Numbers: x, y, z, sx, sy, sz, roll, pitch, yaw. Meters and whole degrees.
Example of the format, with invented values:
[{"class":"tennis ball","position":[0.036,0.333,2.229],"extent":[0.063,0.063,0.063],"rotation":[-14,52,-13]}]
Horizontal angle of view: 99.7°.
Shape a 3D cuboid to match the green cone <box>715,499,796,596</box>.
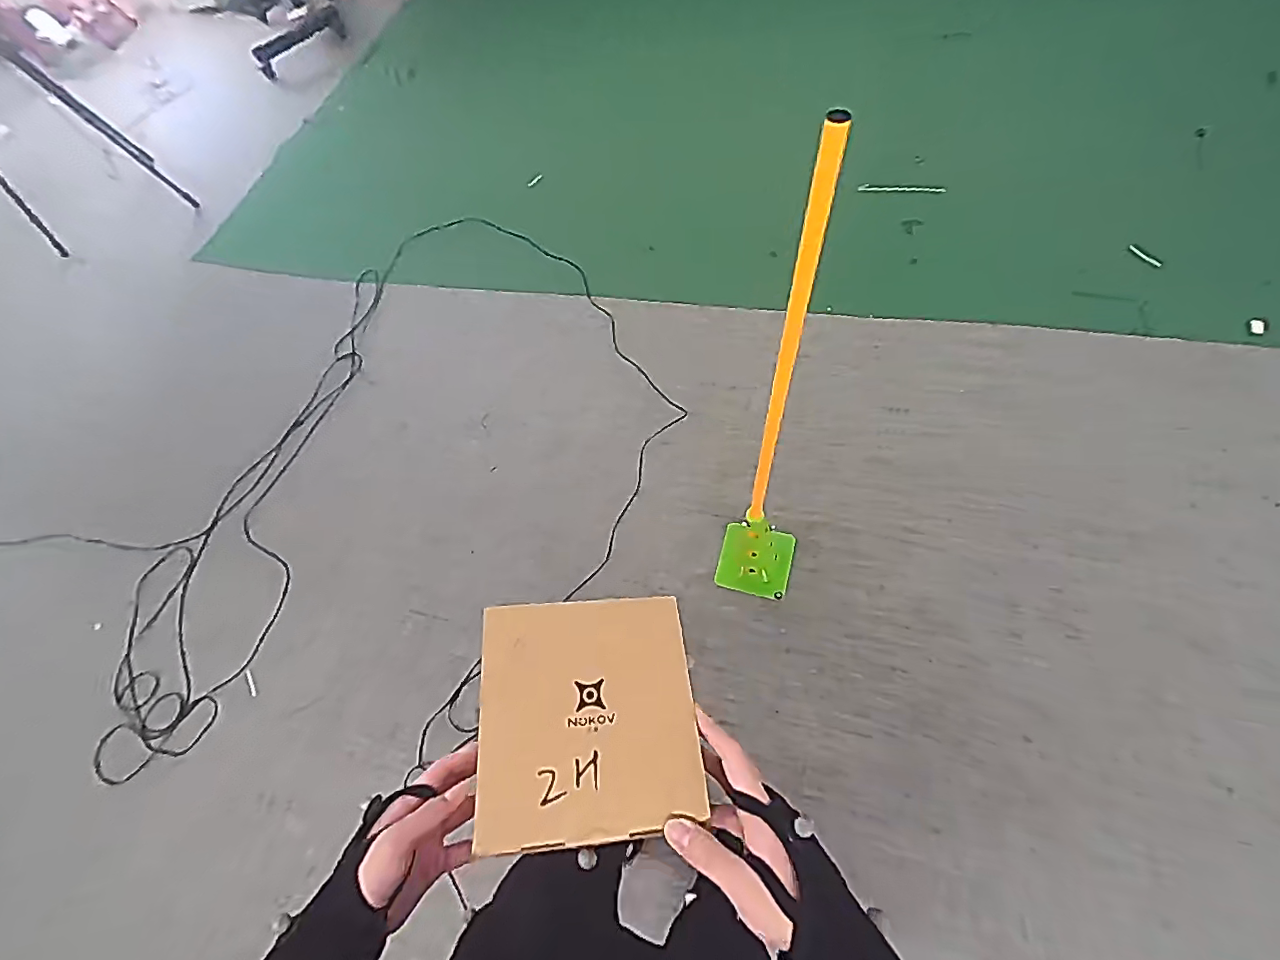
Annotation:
[{"class":"green cone","position":[0.295,0.140,1.391],"extent":[0.202,0.368,0.200],"rotation":[11,66,18]}]
